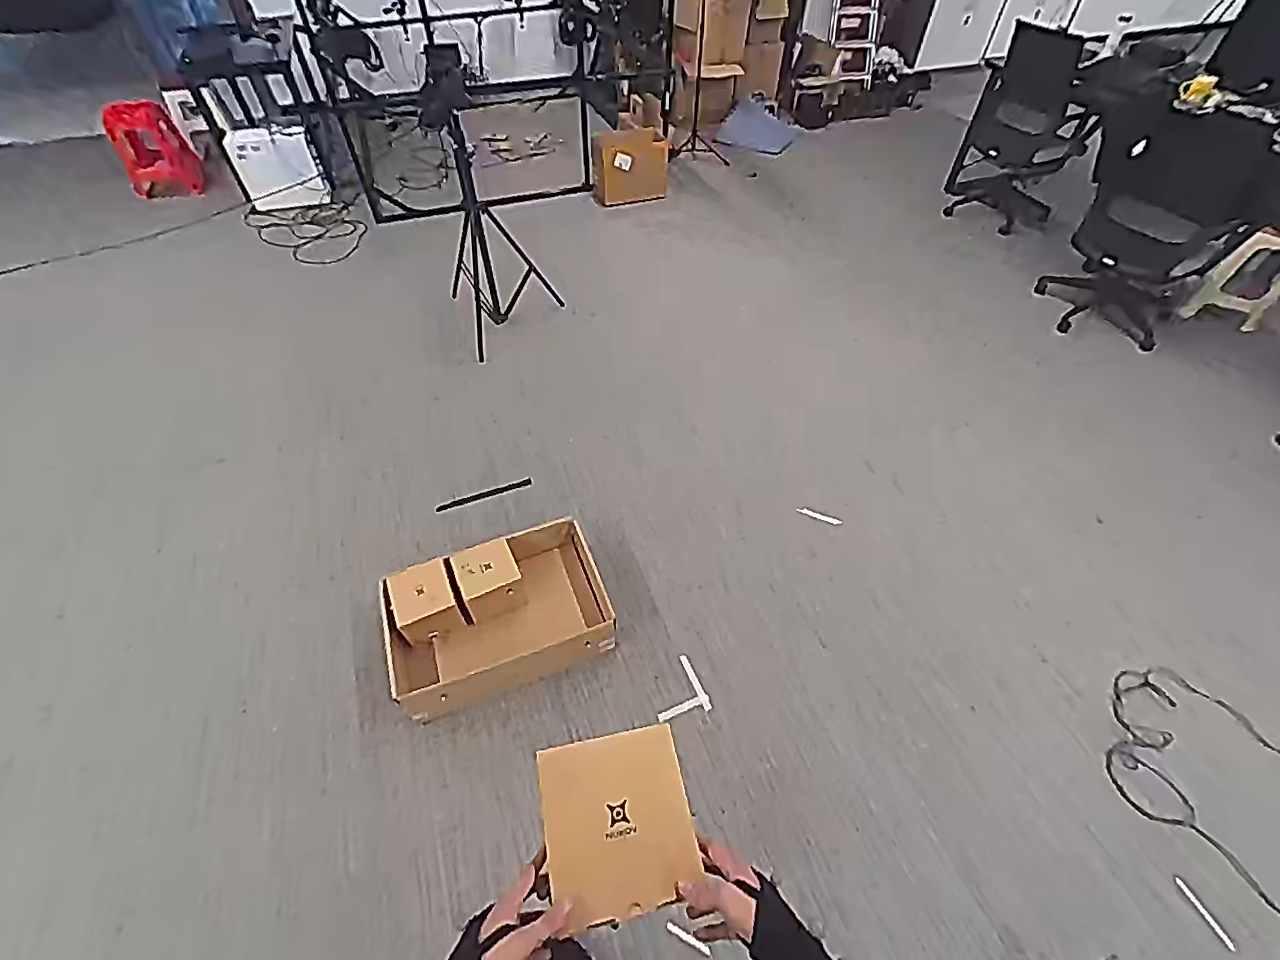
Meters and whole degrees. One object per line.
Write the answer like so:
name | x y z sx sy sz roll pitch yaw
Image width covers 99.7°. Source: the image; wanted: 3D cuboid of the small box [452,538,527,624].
small box | -0.456 0.312 1.661 0.179 0.176 0.168 -21 54 -18

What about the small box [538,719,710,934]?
small box | -0.034 0.418 0.661 0.168 0.176 0.179 -7 56 -14
